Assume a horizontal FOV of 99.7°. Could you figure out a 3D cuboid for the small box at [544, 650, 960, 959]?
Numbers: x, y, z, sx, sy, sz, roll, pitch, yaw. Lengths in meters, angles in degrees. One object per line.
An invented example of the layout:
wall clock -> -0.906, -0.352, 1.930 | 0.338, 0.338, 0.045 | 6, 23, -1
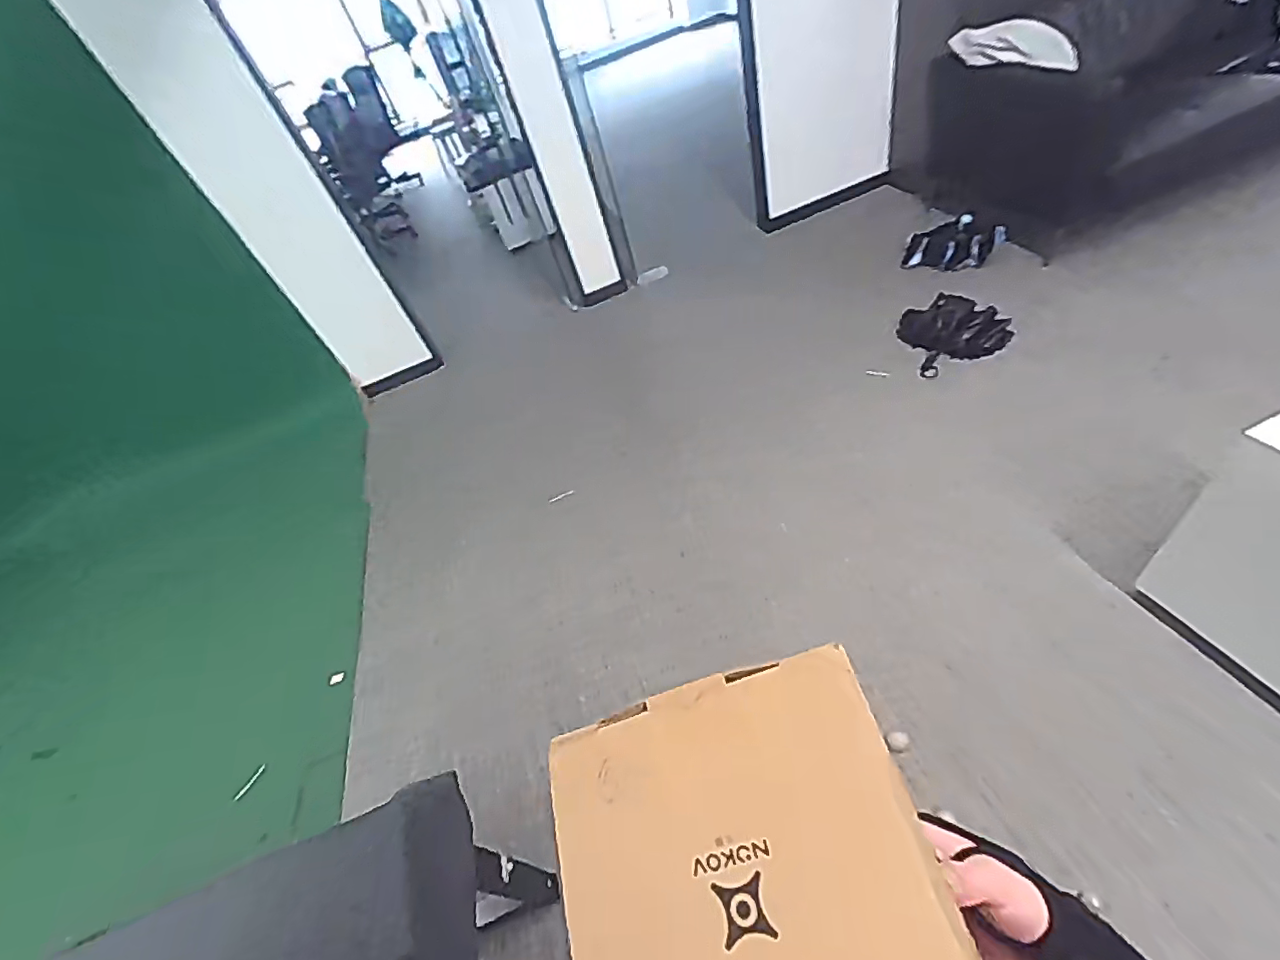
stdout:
small box -> 0.066, 0.219, 0.297 | 0.168, 0.176, 0.179 | -22, 54, 11
